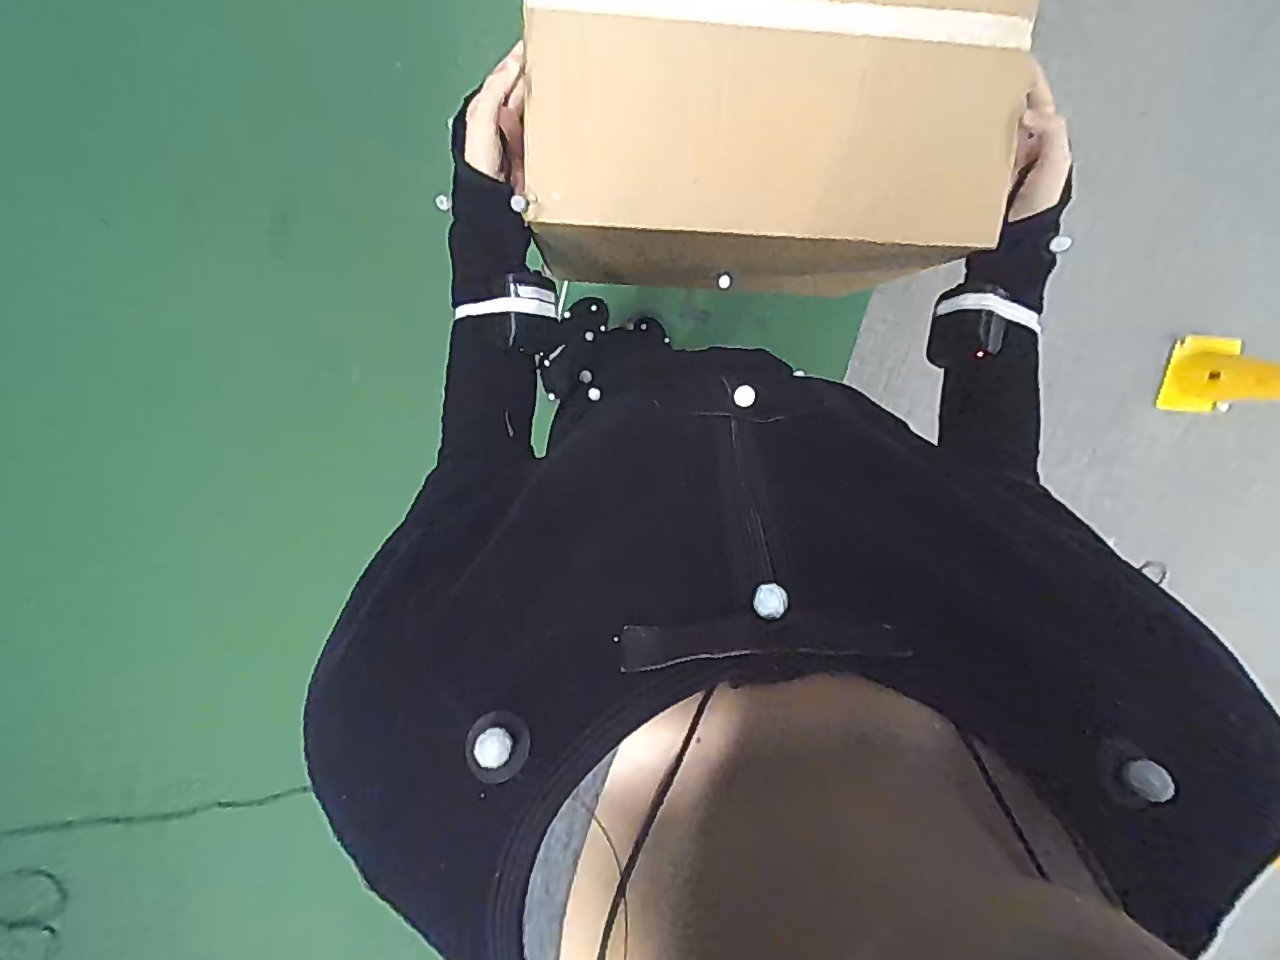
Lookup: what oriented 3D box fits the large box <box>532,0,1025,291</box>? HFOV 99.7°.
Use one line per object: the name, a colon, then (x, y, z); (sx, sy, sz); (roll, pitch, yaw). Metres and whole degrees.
large box: (0.107, -0.389, 0.583); (0.408, 0.320, 0.320); (2, 101, -4)
